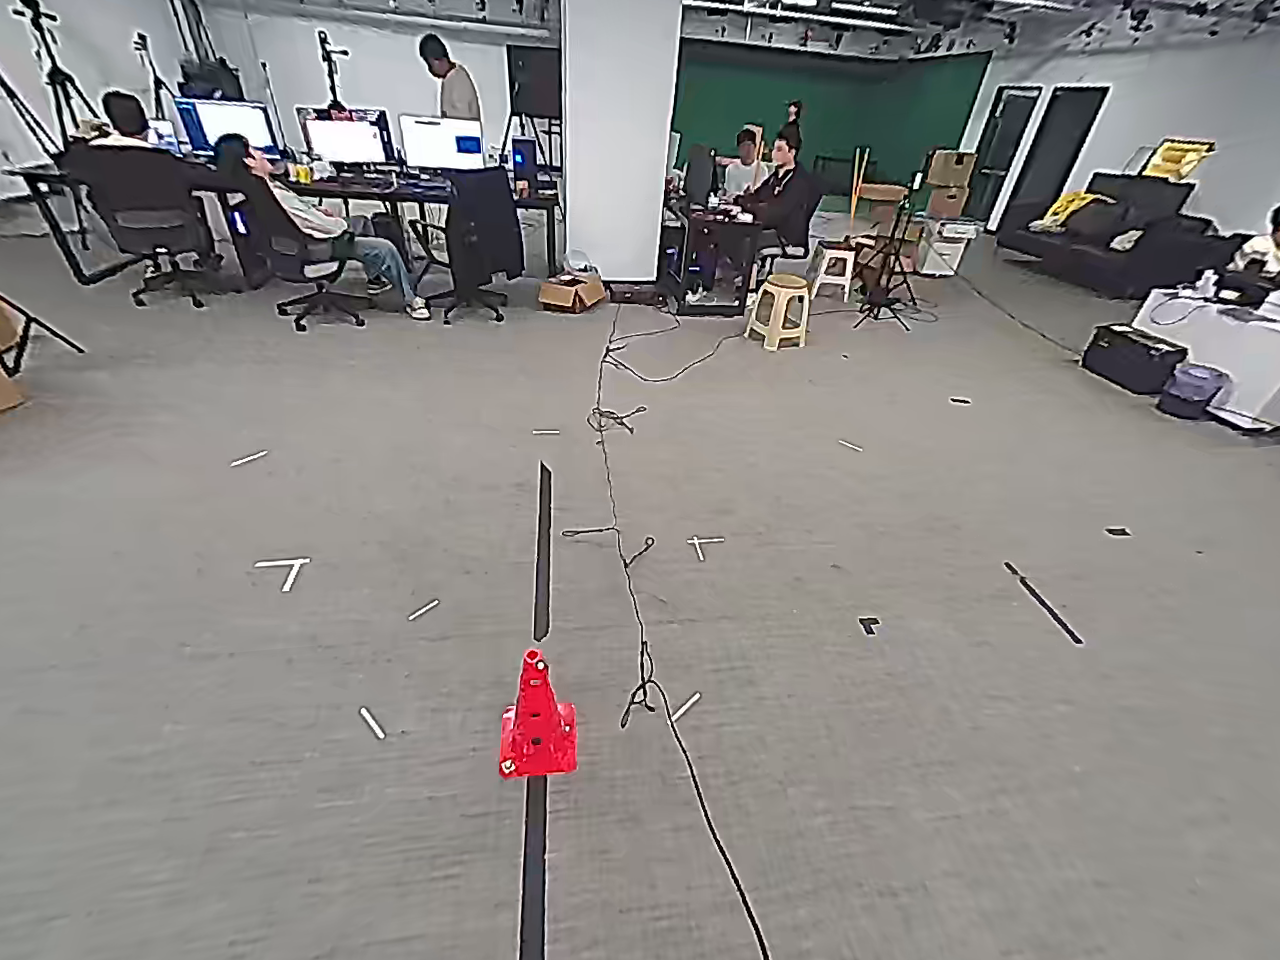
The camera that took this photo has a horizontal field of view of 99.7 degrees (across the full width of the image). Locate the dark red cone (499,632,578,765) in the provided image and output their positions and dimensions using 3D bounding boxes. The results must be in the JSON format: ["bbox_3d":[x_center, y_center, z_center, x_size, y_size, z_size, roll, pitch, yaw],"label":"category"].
[{"bbox_3d":[-0.255,0.527,1.352,0.201,0.394,0.202,0,35,-10],"label":"dark red cone"}]
